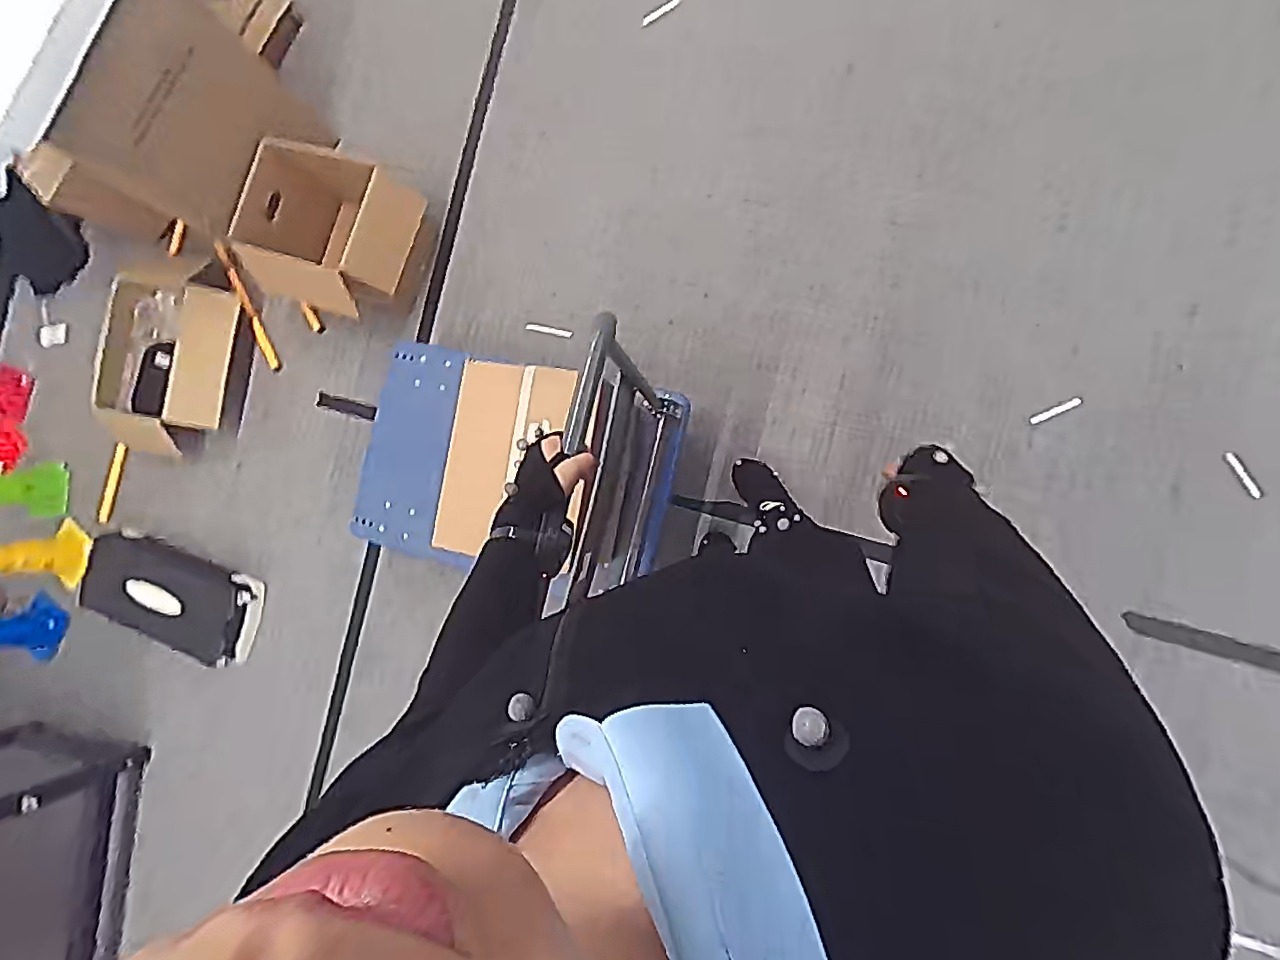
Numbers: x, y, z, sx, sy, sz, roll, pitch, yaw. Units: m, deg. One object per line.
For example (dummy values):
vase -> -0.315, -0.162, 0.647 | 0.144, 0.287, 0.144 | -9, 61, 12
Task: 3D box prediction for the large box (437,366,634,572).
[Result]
large box -> -0.221, -0.015, 1.256 | 0.320, 0.320, 0.408 | 9, 86, 13
